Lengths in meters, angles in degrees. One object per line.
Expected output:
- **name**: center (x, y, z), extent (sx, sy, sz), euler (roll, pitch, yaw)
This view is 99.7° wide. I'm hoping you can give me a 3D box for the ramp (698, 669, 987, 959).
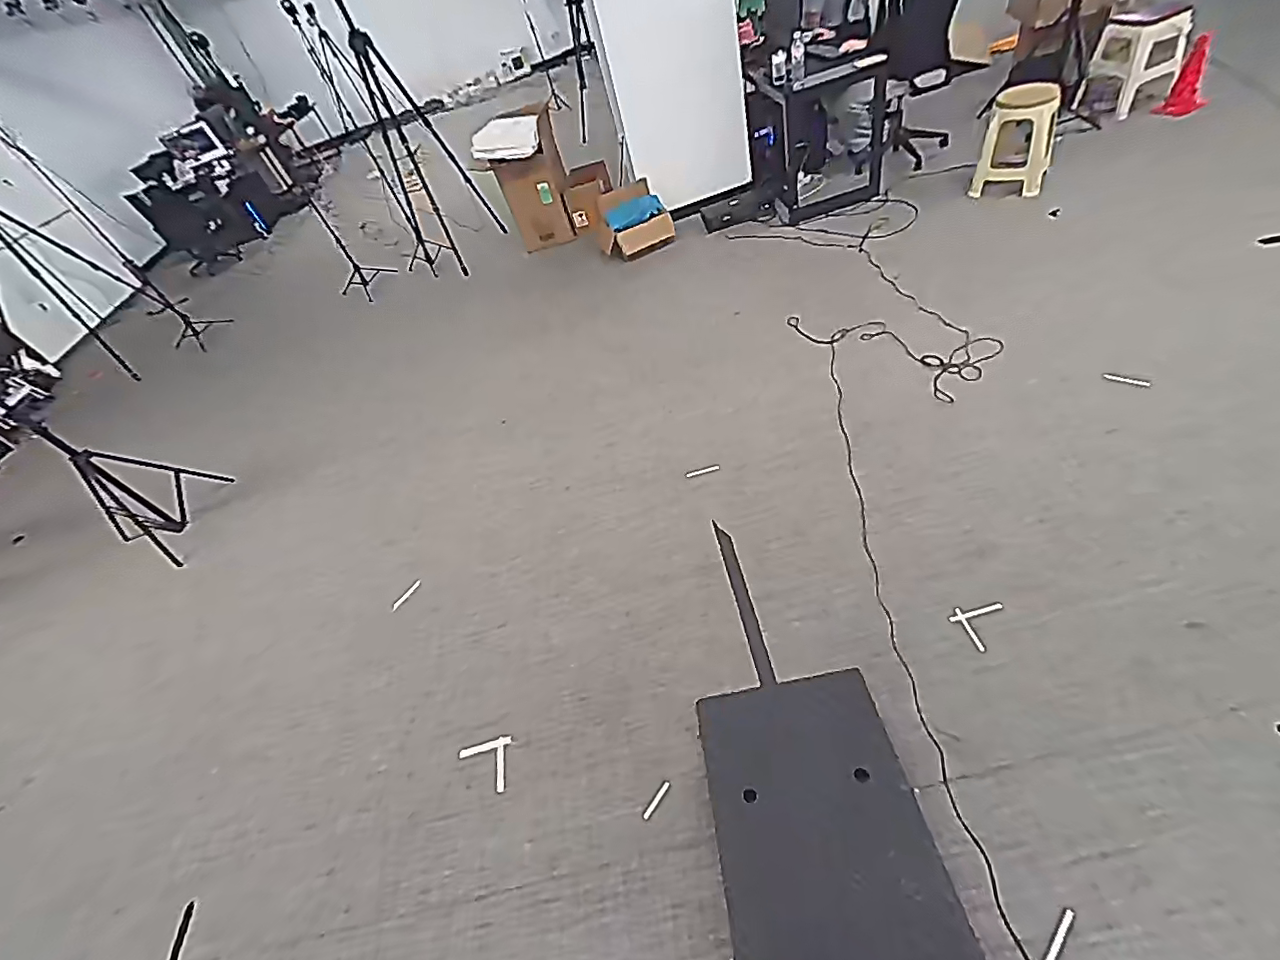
- **ramp**: center (0.430, 0.904, 1.203), extent (0.509, 0.206, 0.991), euler (-17, 45, 6)
